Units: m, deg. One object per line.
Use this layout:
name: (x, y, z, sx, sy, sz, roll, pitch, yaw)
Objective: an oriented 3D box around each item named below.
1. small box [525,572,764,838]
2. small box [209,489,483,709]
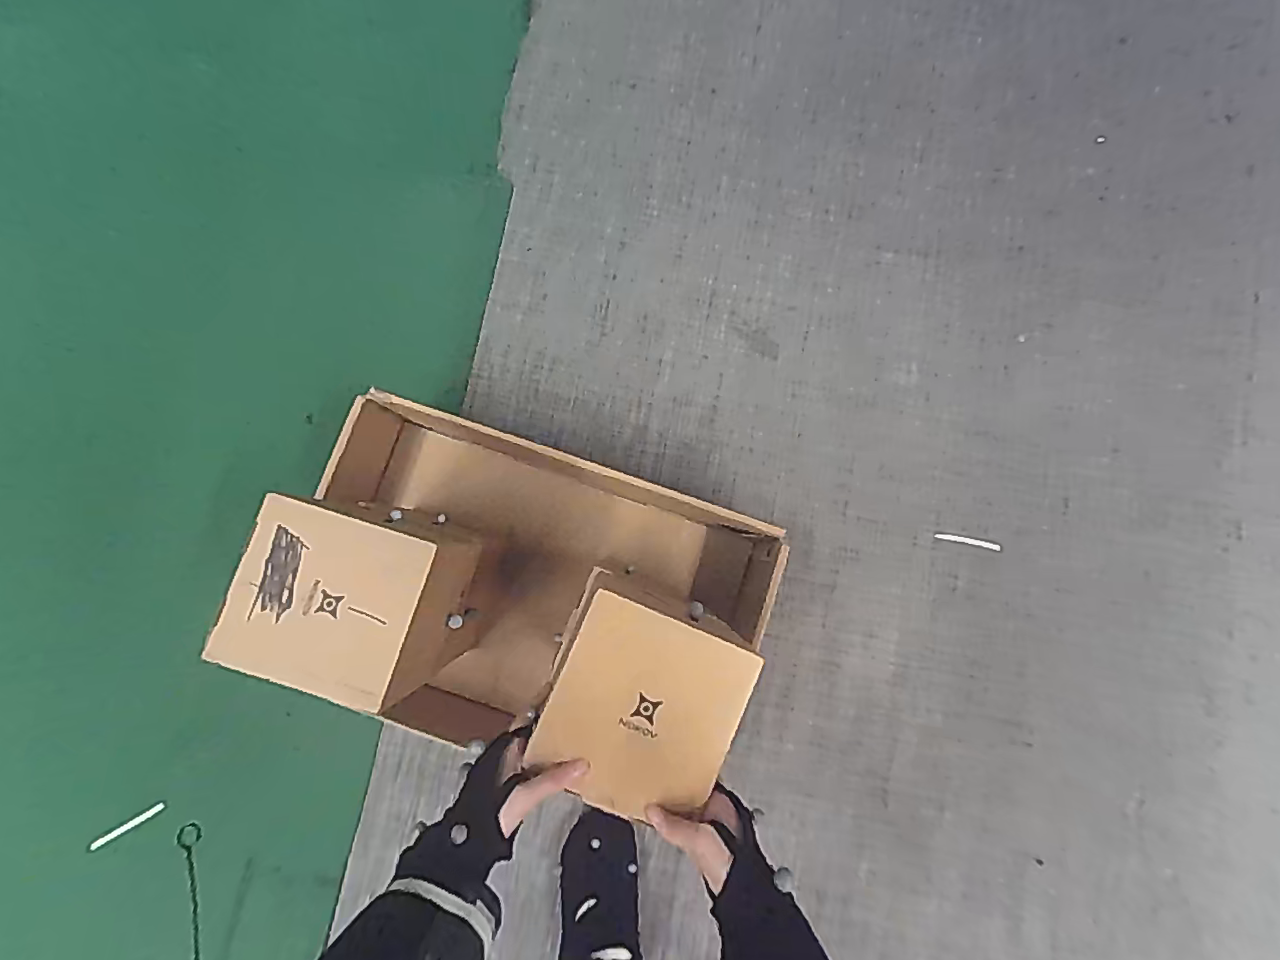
small box: (0.000, 0.210, 0.560, 0.168, 0.176, 0.179, 25, 86, -2)
small box: (-0.296, 0.121, 0.589, 0.179, 0.176, 0.168, 18, 83, 0)
